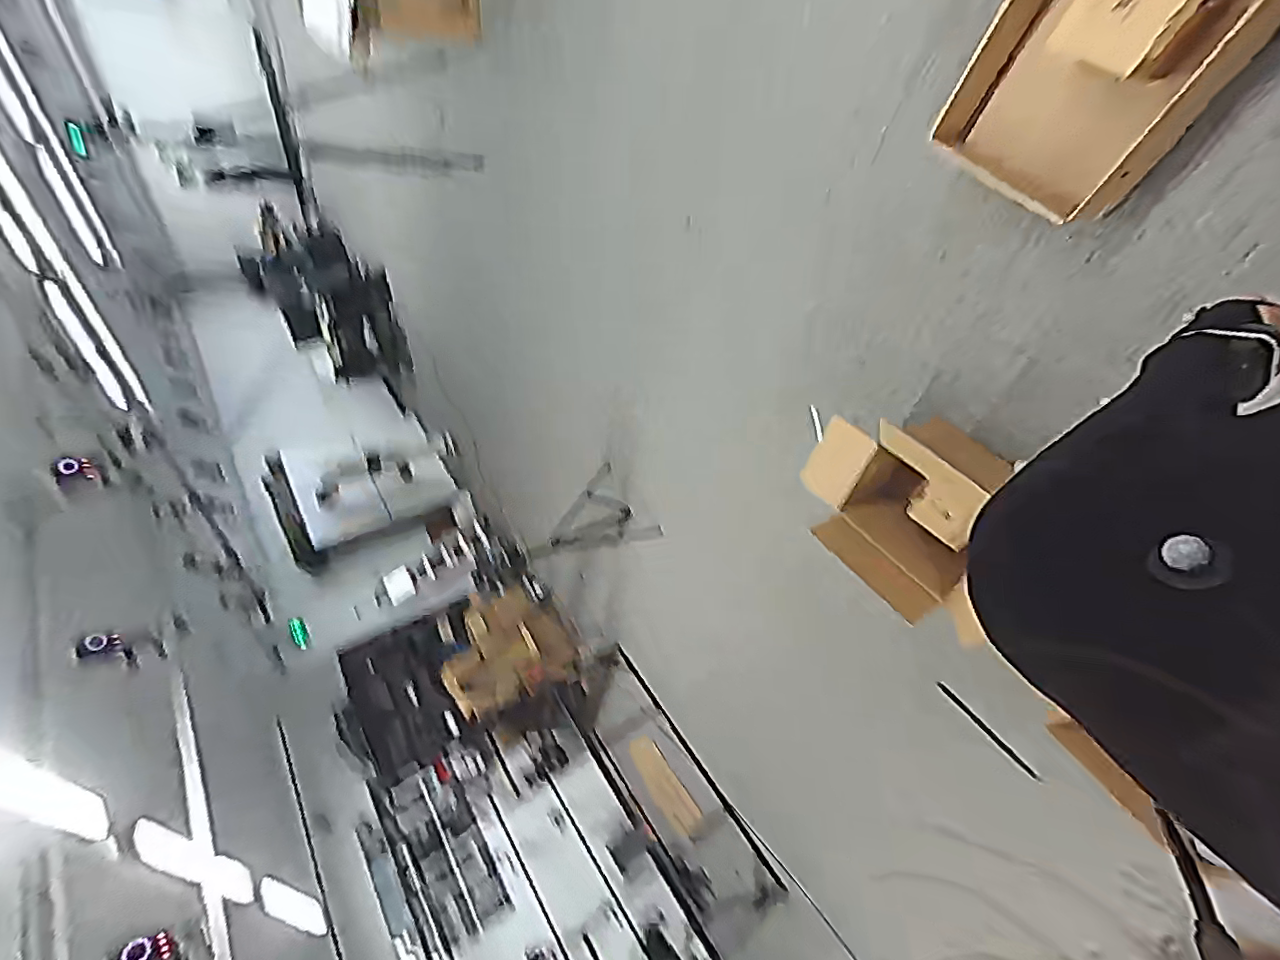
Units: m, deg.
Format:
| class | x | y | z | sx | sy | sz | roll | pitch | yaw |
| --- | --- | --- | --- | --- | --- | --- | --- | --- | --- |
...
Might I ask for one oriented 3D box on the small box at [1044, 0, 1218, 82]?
| class | x | y | z | sx | sy | sz | roll | pitch | yaw |
| --- | --- | --- | --- | --- | --- | --- | --- | --- | --- |
| small box | 0.921 | -0.868 | 1.003 | 0.179 | 0.176 | 0.168 | 53 | 146 | 25 |
